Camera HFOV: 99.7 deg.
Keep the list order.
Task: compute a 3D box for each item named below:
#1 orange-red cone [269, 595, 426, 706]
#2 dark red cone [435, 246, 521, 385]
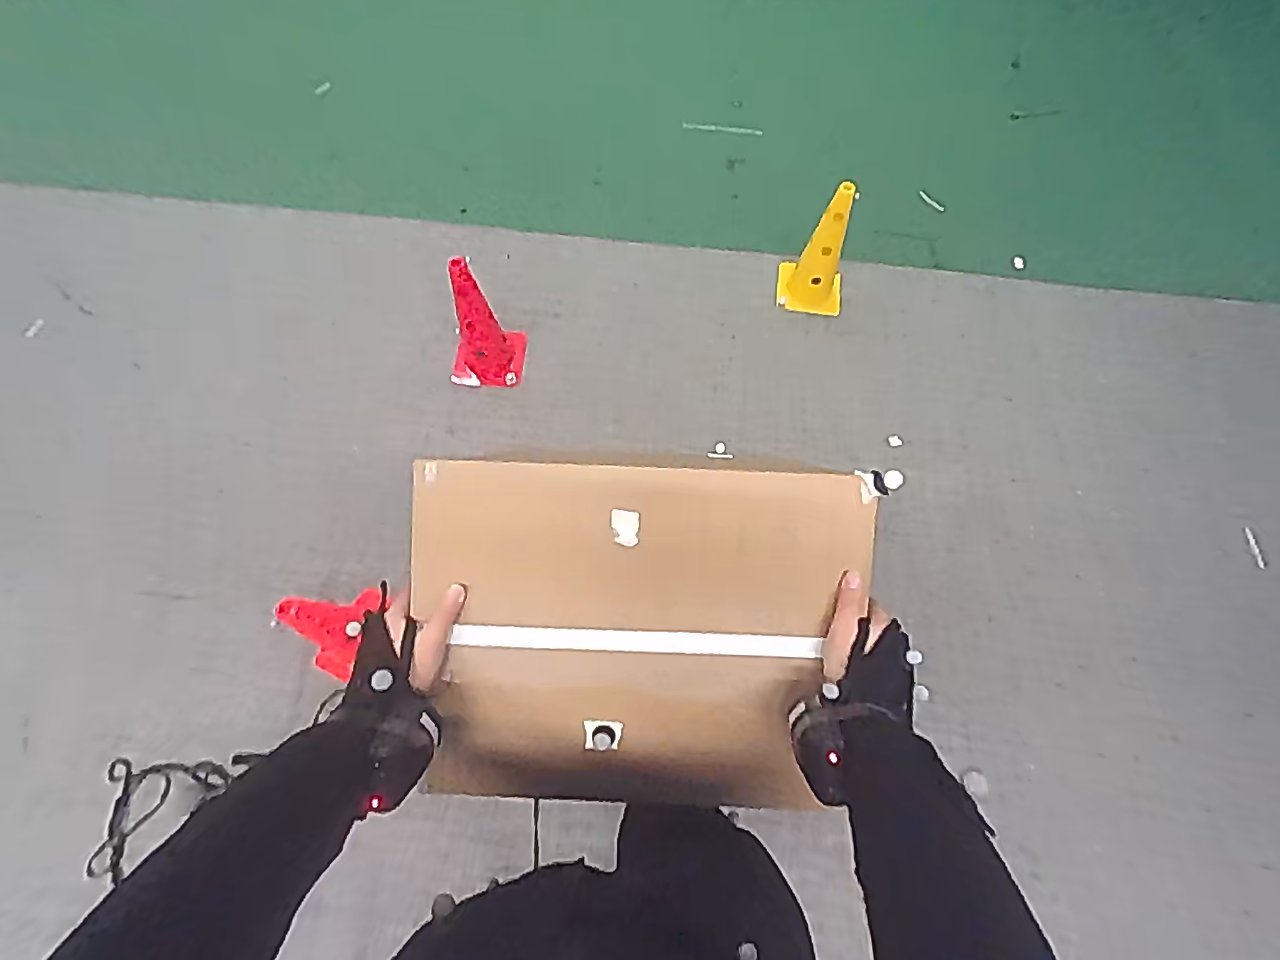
[{"bbox_3d":[-0.617,0.302,1.079,0.199,0.360,0.198,24,64,13],"label":"orange-red cone"},{"bbox_3d":[-0.454,-0.438,1.432,0.202,0.394,0.201,0,60,0],"label":"dark red cone"}]
